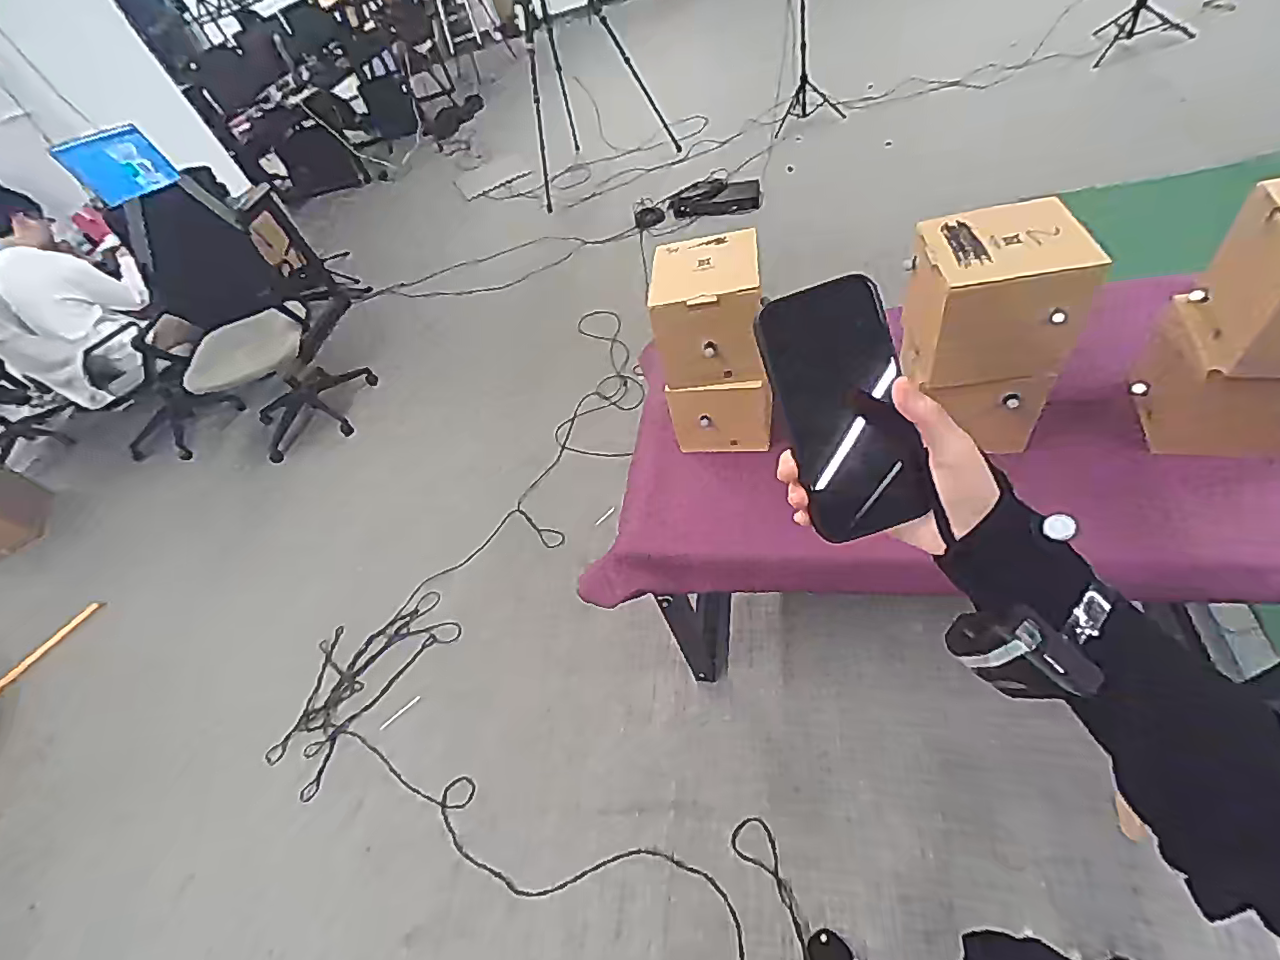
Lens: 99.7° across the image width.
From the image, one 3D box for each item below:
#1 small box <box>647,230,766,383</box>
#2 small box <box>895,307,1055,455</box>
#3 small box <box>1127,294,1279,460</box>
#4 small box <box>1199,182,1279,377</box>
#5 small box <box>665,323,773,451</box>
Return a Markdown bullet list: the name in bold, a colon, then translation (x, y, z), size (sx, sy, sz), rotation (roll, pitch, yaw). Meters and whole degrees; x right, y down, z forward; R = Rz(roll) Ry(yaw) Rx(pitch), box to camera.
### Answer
- **small box**: translation (0.117, -0.274, 0.889), size (0.168, 0.176, 0.179), rotation (-4, 52, 14)
- **small box**: translation (0.524, -0.153, 0.874), size (0.179, 0.176, 0.168), rotation (-1, 52, 18)
- **small box**: translation (0.845, -0.143, 0.763), size (0.179, 0.176, 0.168), rotation (5, 53, 22)
- **small box**: translation (0.811, -0.232, 0.629), size (0.179, 0.176, 0.168), rotation (5, 53, 21)
- **small box**: translation (0.156, -0.166, 1.007), size (0.168, 0.176, 0.179), rotation (0, 52, 18)
